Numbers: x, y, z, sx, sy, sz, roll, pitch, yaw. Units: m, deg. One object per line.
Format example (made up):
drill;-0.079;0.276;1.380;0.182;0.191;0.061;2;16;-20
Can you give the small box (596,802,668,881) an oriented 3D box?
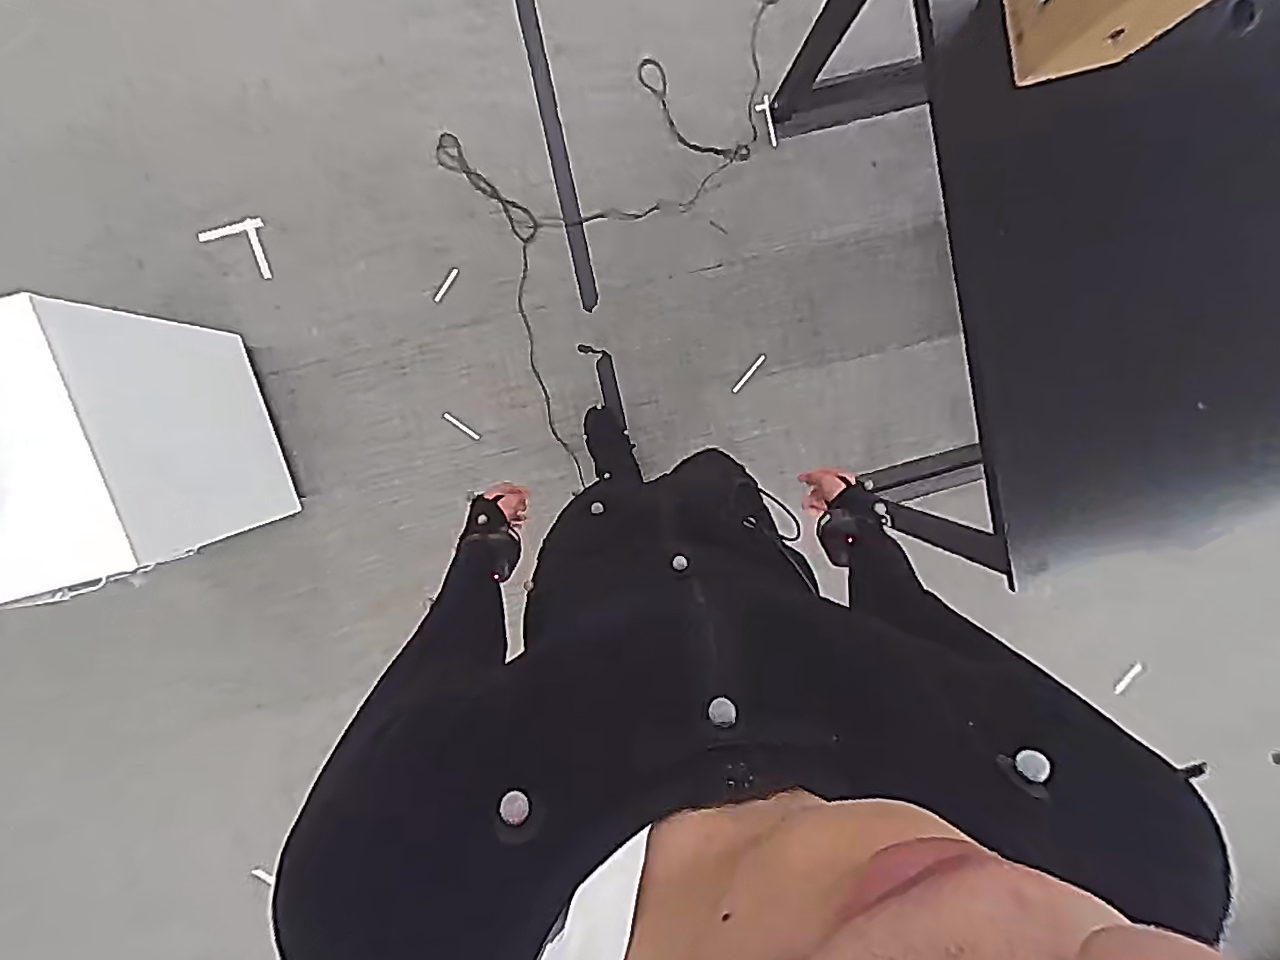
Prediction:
small box;-0.020;1.039;1.509;0.179;0.176;0.168;-13;98;-1

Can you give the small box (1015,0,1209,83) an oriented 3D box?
small box;0.661;-0.699;0.754;0.179;0.176;0.168;-15;99;-1
